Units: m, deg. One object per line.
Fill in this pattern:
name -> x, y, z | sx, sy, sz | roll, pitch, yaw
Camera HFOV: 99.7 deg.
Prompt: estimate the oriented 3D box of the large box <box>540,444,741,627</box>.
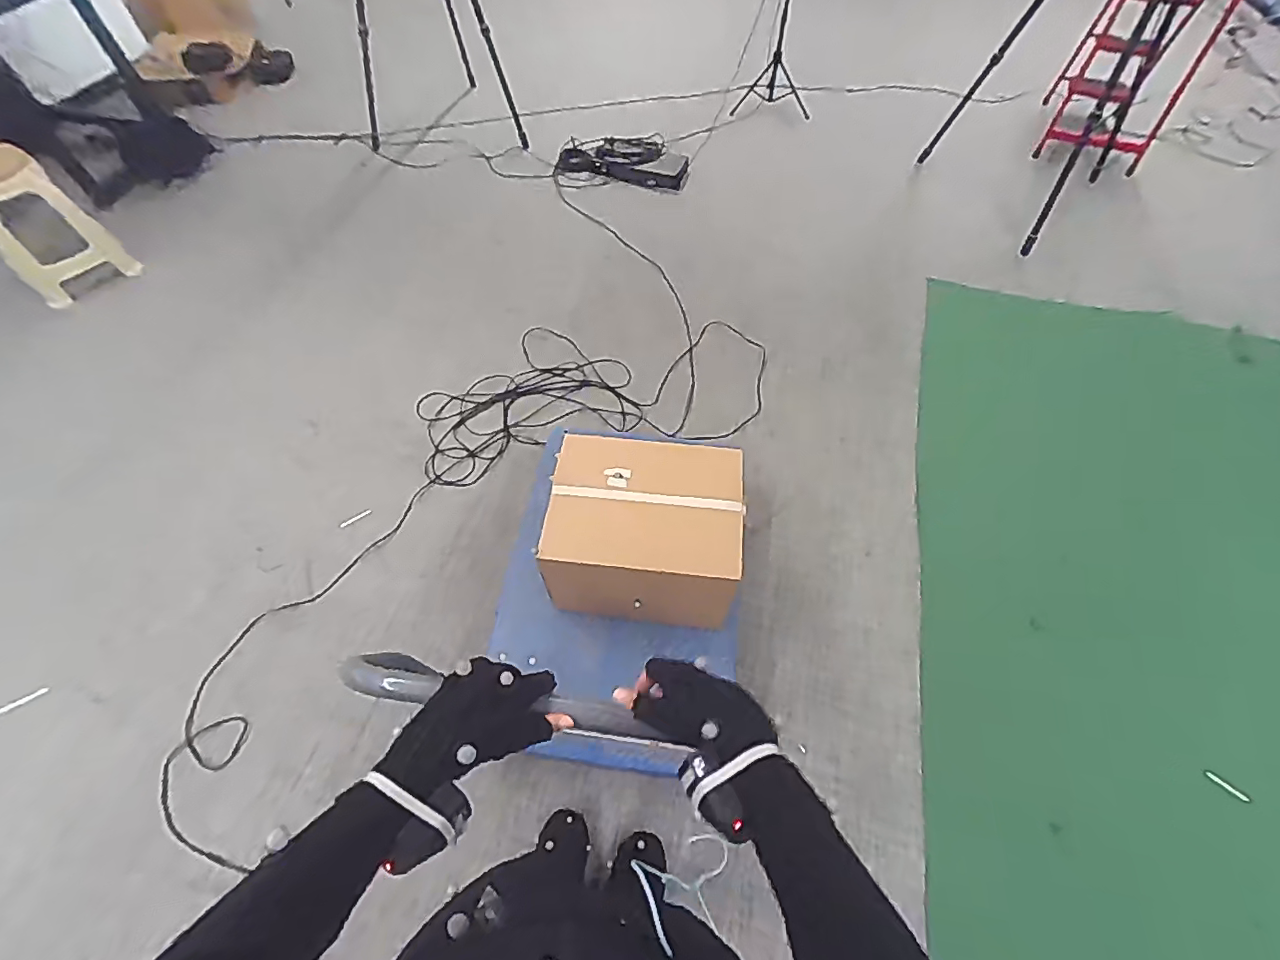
large box -> 0.019, 0.137, 1.266 | 0.408, 0.320, 0.320 | 4, 56, 5
